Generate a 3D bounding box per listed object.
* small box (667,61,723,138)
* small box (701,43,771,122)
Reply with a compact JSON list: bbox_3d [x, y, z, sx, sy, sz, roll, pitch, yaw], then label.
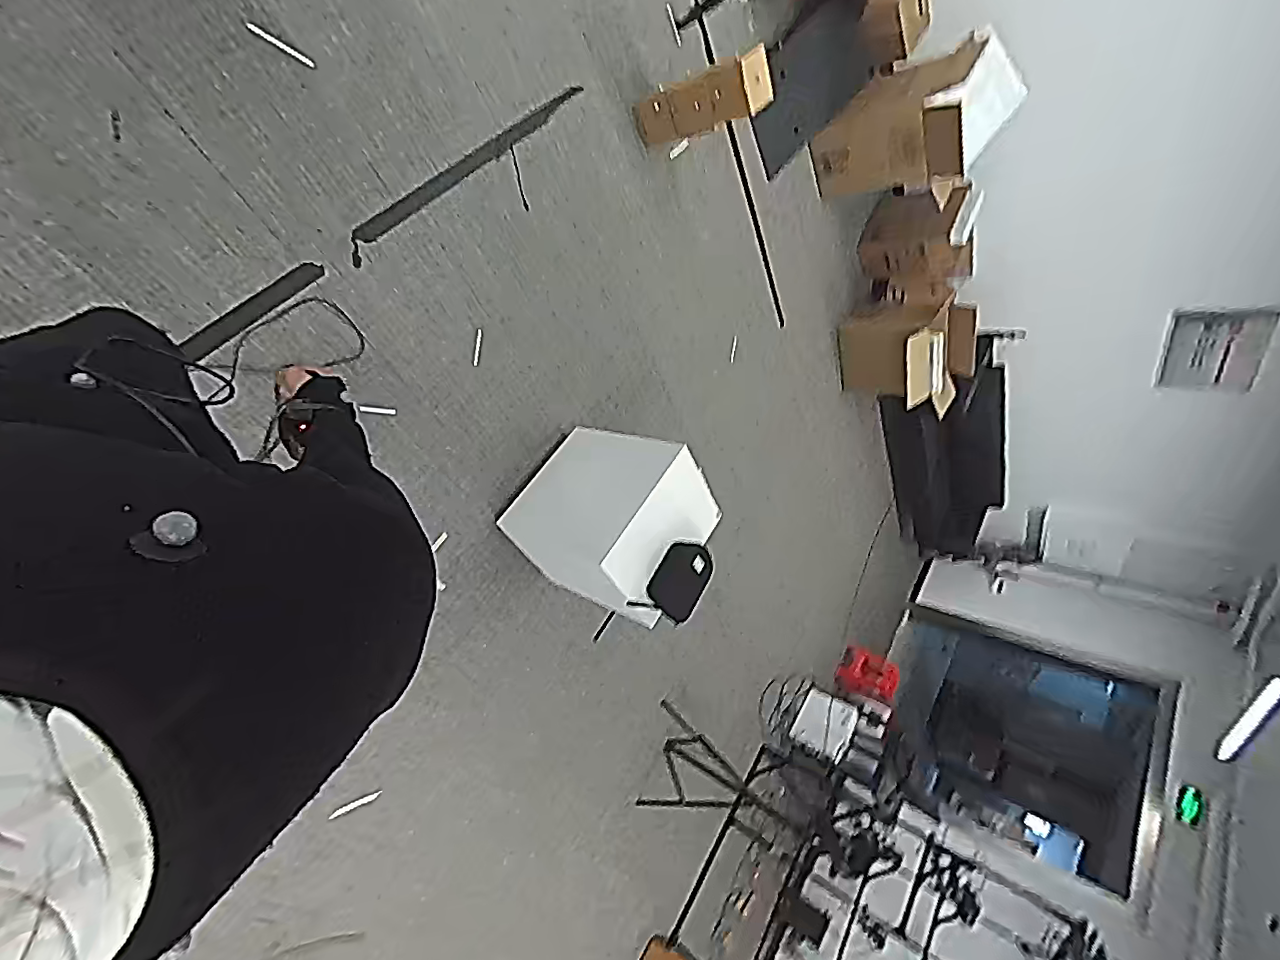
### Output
[{"bbox_3d":[0.226,-1.447,2.060,0.168,0.176,0.179,-54,136,-25],"label":"small box"},{"bbox_3d":[0.347,-1.431,1.952,0.179,0.176,0.168,-52,134,-26],"label":"small box"}]
